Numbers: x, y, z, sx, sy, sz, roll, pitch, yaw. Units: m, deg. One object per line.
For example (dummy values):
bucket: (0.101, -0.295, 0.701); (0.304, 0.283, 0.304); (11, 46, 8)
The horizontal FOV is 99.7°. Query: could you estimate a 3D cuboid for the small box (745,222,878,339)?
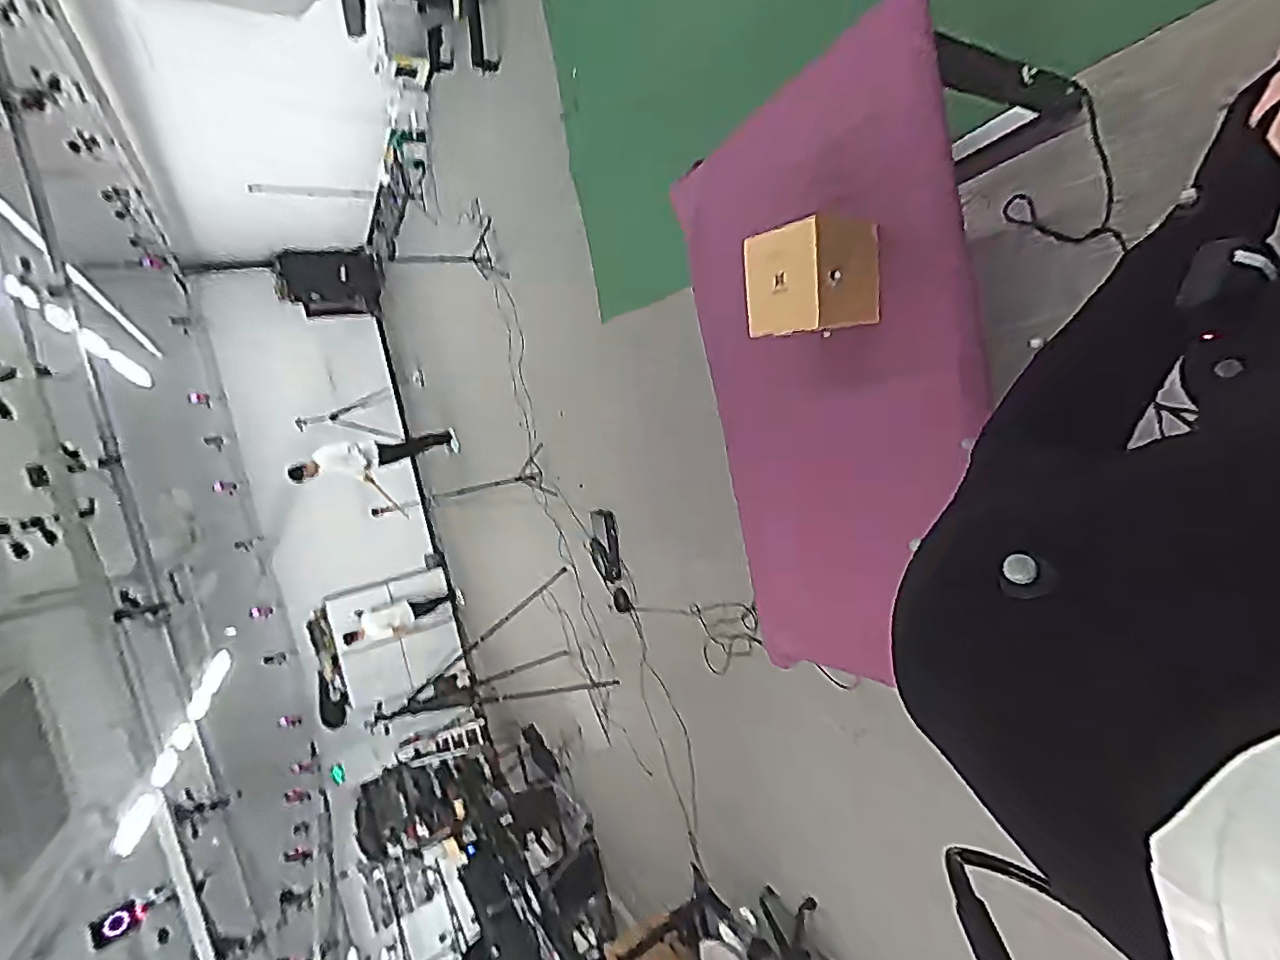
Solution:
small box: (0.314, -0.361, 0.985); (0.168, 0.176, 0.179); (14, 115, 56)
